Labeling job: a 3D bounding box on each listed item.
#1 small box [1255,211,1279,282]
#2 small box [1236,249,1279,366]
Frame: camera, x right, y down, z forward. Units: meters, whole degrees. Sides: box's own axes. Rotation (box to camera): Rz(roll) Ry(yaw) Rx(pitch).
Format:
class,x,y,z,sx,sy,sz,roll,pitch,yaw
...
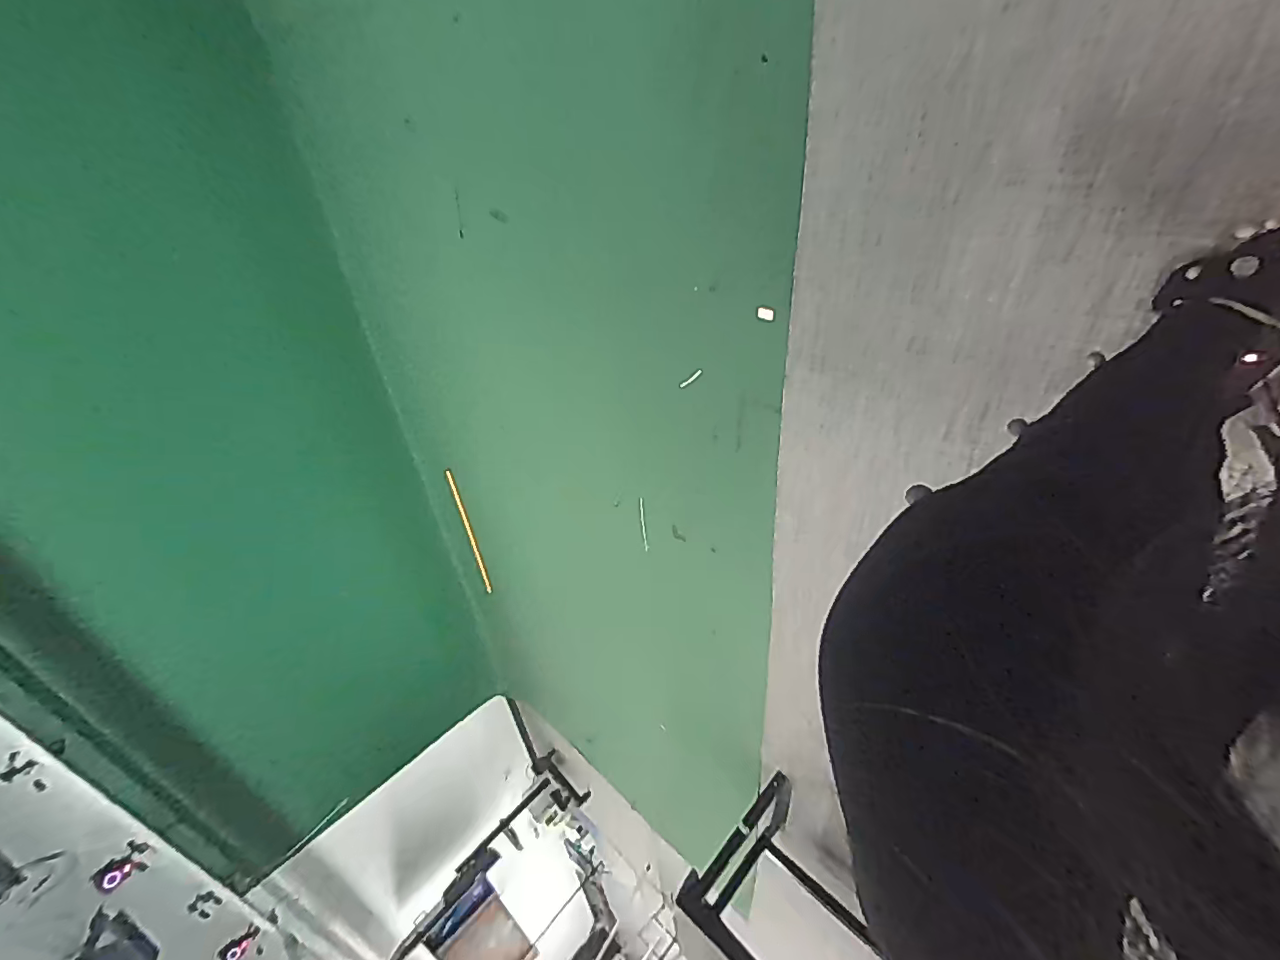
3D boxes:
class,x,y,z,sx,sy,sz,roll,pitch,yaw
small box,0.933,-0.346,0.679,0.168,0.176,0.179,25,134,38
small box,0.705,-0.199,0.492,0.168,0.176,0.179,28,136,35
